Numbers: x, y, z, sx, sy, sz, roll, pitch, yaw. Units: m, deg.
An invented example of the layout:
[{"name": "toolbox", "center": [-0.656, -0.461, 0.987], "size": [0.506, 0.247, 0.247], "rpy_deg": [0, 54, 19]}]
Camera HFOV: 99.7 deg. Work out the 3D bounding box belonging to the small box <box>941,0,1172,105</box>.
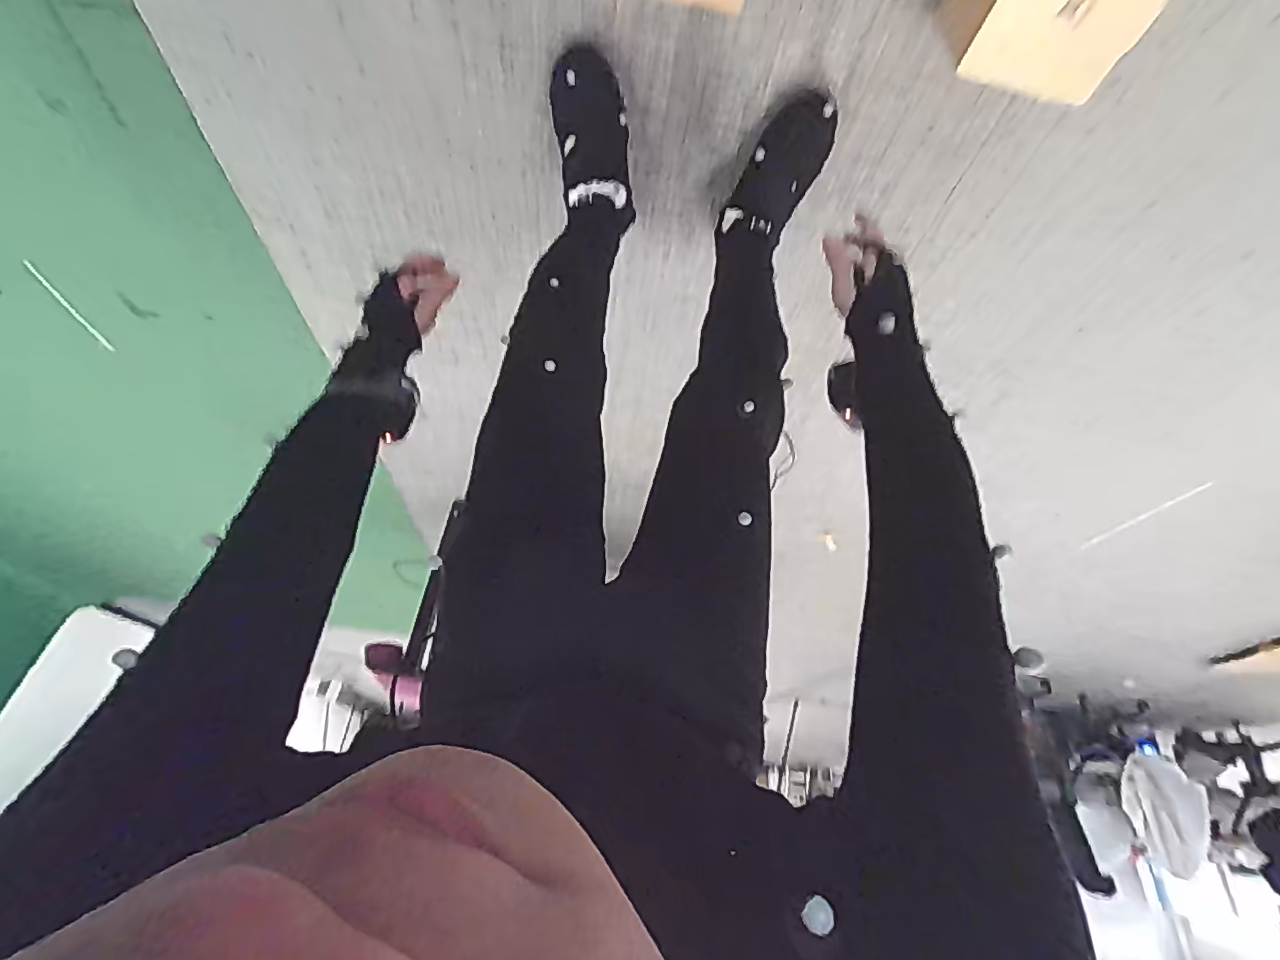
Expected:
[{"name": "small box", "center": [0.485, -0.581, 0.625], "size": [0.179, 0.176, 0.168], "rpy_deg": [10, 149, -5]}]
